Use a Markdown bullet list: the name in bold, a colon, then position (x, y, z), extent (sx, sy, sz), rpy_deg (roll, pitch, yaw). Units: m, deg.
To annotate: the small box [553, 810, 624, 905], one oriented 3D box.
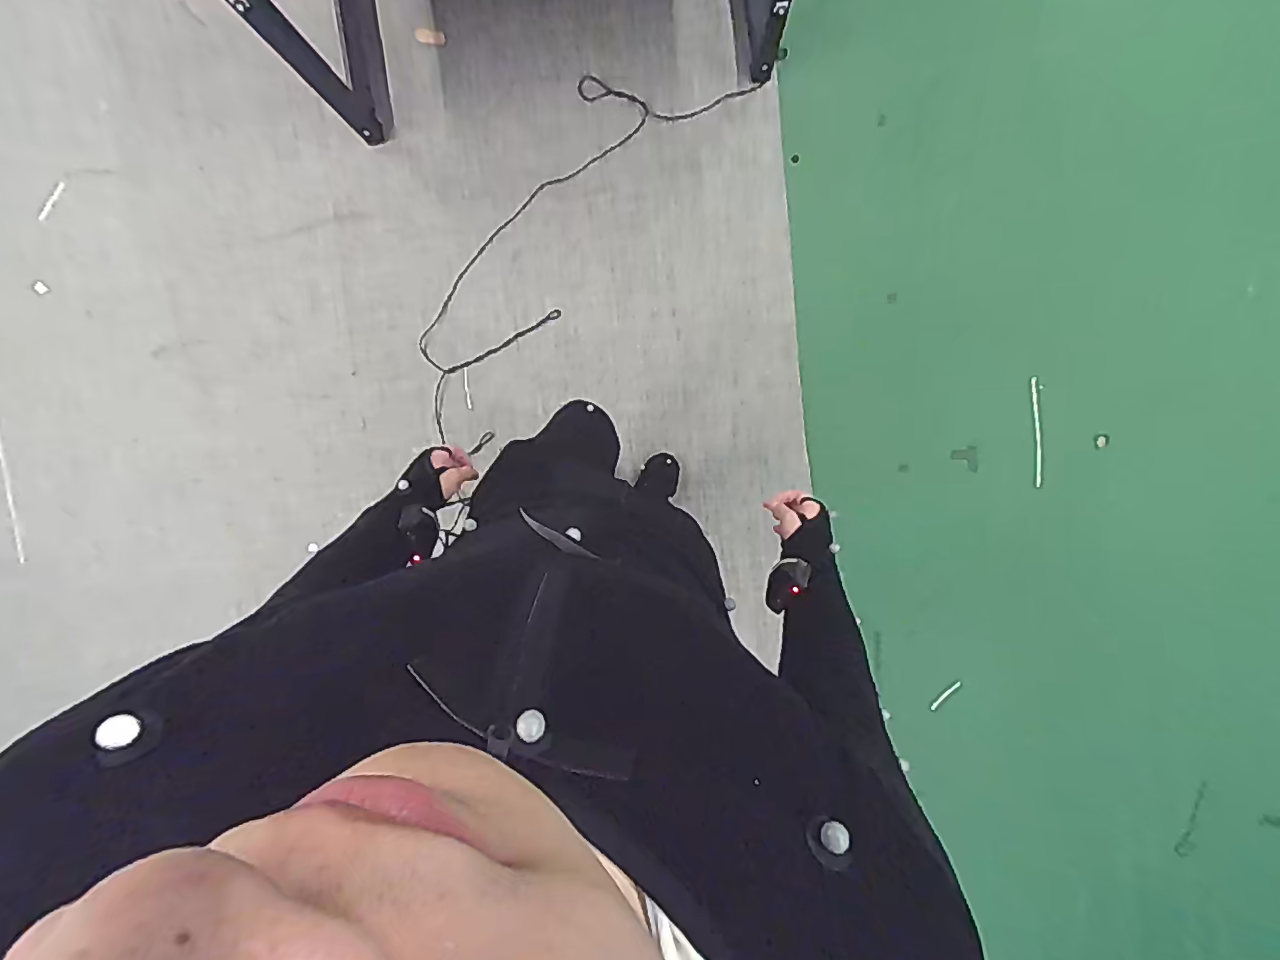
- **small box**: position (-0.147, 1.130, 1.611), extent (0.168, 0.176, 0.179), rpy_deg (-12, 93, 3)
